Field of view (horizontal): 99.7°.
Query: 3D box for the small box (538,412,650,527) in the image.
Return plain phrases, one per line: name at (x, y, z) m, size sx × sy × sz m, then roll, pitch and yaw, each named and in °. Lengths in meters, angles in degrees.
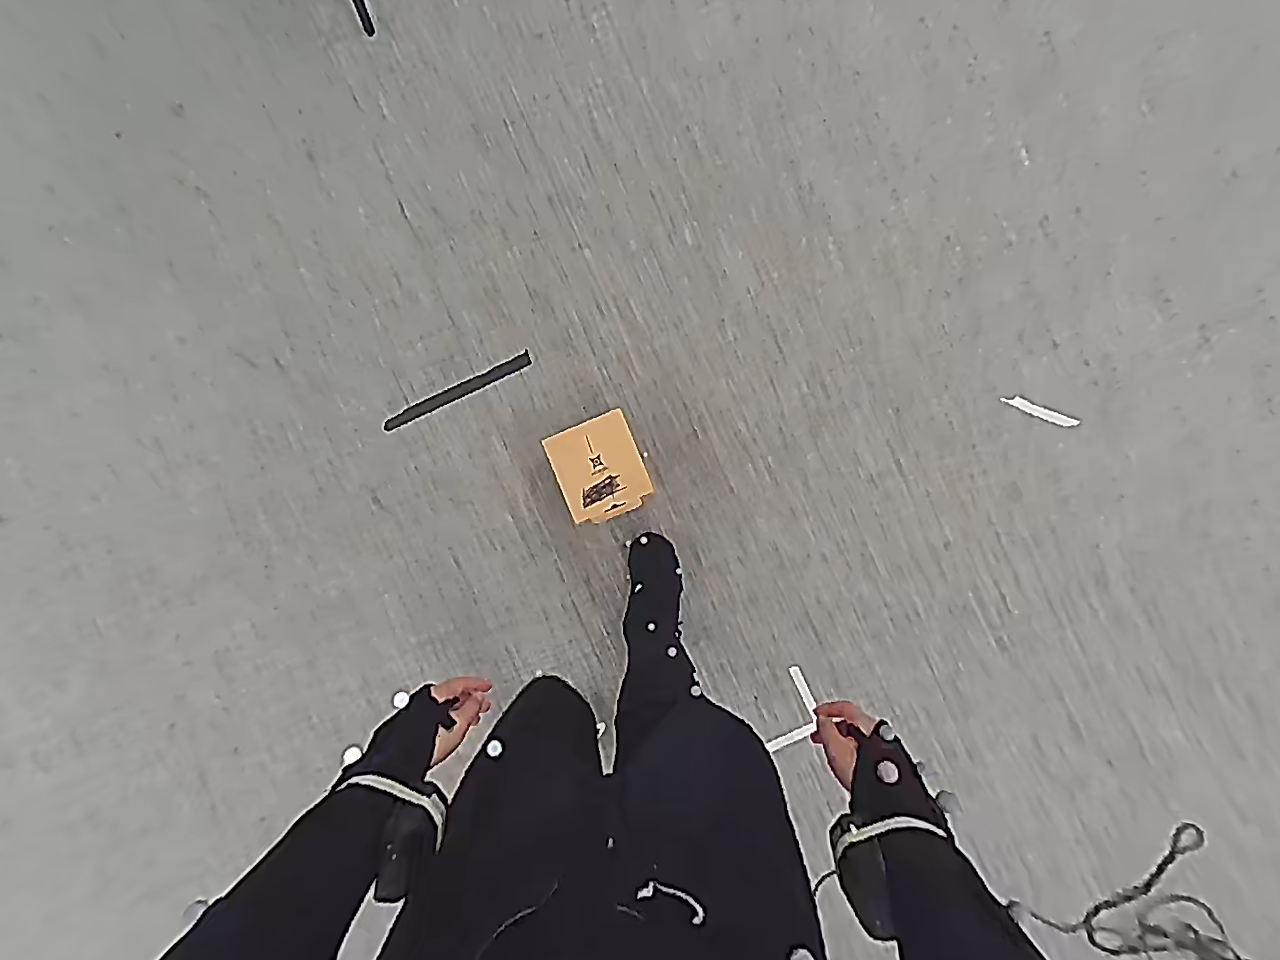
small box at (-0.083, -0.021, 1.097) m, size 0.168 × 0.176 × 0.179 m, roll -23°, pitch 89°, yaw 2°
